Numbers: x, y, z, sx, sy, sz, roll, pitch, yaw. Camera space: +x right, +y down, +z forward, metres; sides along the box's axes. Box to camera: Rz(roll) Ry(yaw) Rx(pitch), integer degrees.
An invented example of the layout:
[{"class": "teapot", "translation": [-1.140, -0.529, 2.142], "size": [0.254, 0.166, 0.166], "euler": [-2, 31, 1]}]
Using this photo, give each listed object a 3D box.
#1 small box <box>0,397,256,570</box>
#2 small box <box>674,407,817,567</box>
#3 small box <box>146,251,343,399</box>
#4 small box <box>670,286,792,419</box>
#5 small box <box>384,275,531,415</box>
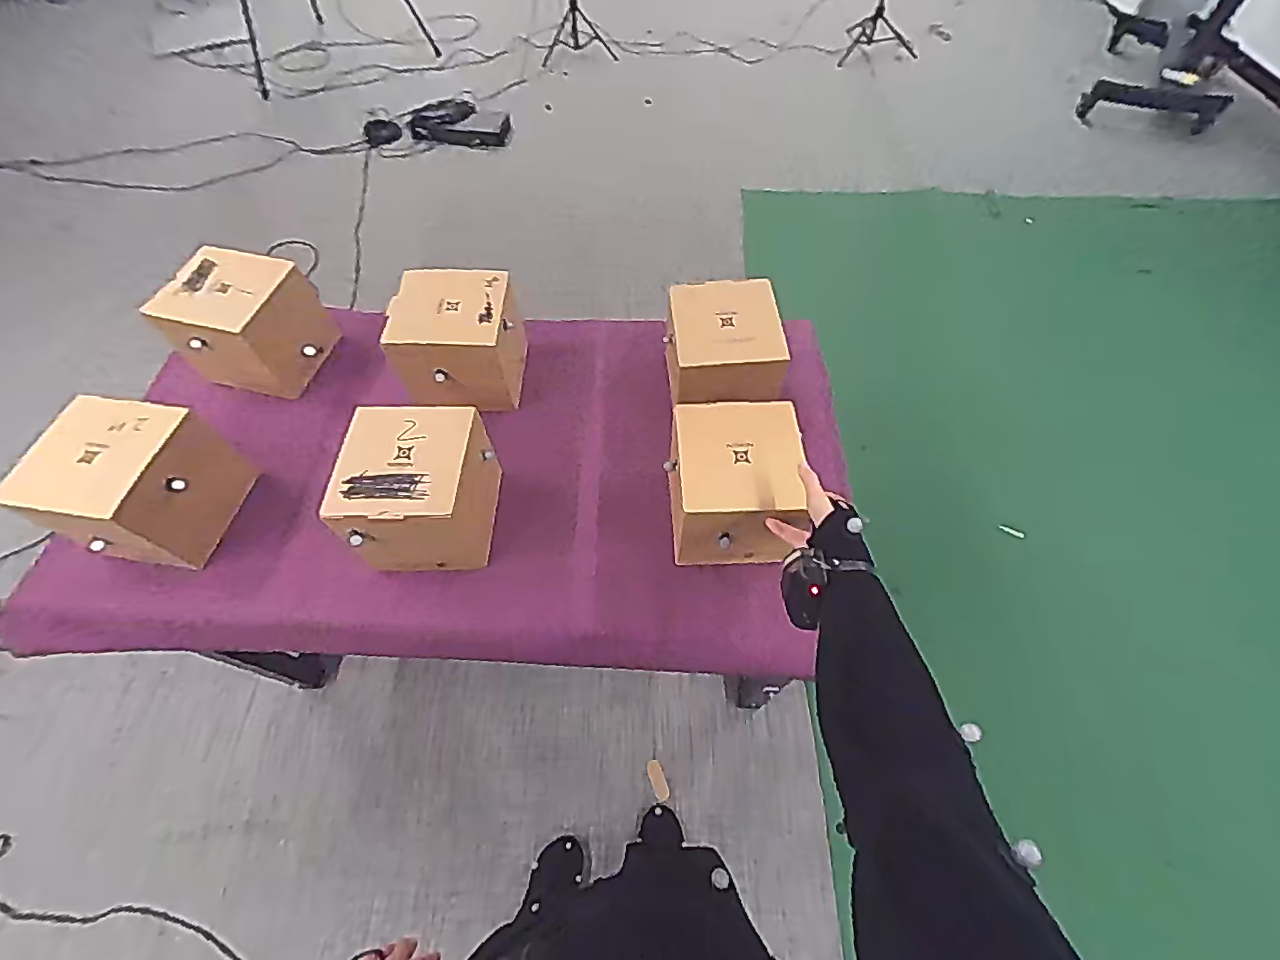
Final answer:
[{"class": "small box", "translation": [-0.700, 0.011, 0.767], "size": [0.168, 0.176, 0.179], "euler": [9, 59, 4]}, {"class": "small box", "translation": [0.136, 0.017, 0.769], "size": [0.168, 0.176, 0.179], "euler": [-2, 56, -1]}, {"class": "small box", "translation": [-0.662, -0.261, 0.932], "size": [0.179, 0.176, 0.168], "euler": [13, 61, 6]}, {"class": "small box", "translation": [0.138, -0.196, 0.898], "size": [0.168, 0.176, 0.179], "euler": [-3, 60, 0]}, {"class": "small box", "translation": [-0.294, -0.223, 0.913], "size": [0.179, 0.176, 0.168], "euler": [1, 61, 1]}]
